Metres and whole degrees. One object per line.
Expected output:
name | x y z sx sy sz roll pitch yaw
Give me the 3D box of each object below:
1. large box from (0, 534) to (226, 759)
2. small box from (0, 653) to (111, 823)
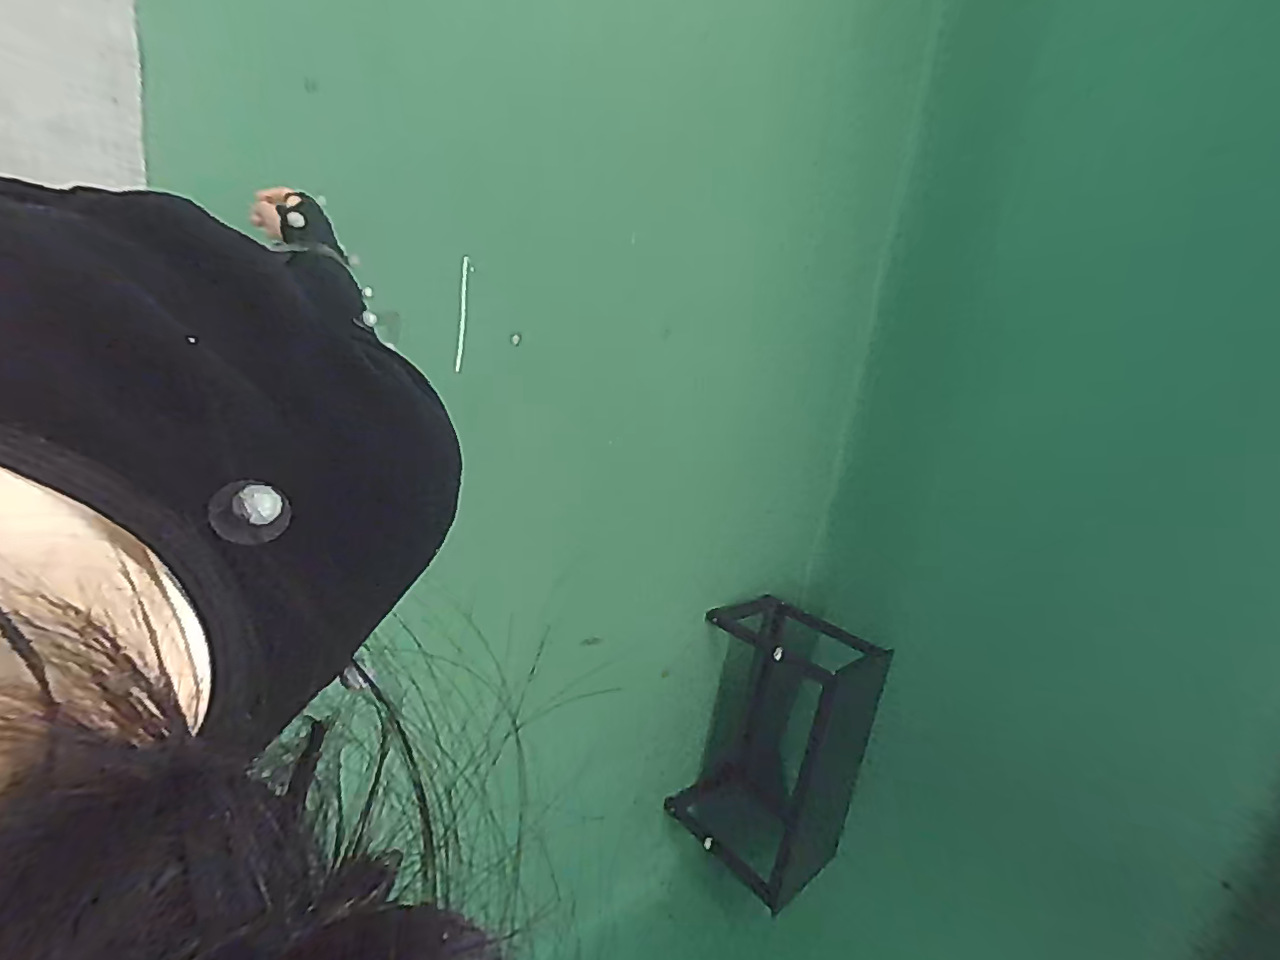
large box | -1.116 0.353 1.045 0.408 0.320 0.320 -23 121 -39
small box | -0.967 0.397 0.848 0.168 0.176 0.179 -15 115 -40
